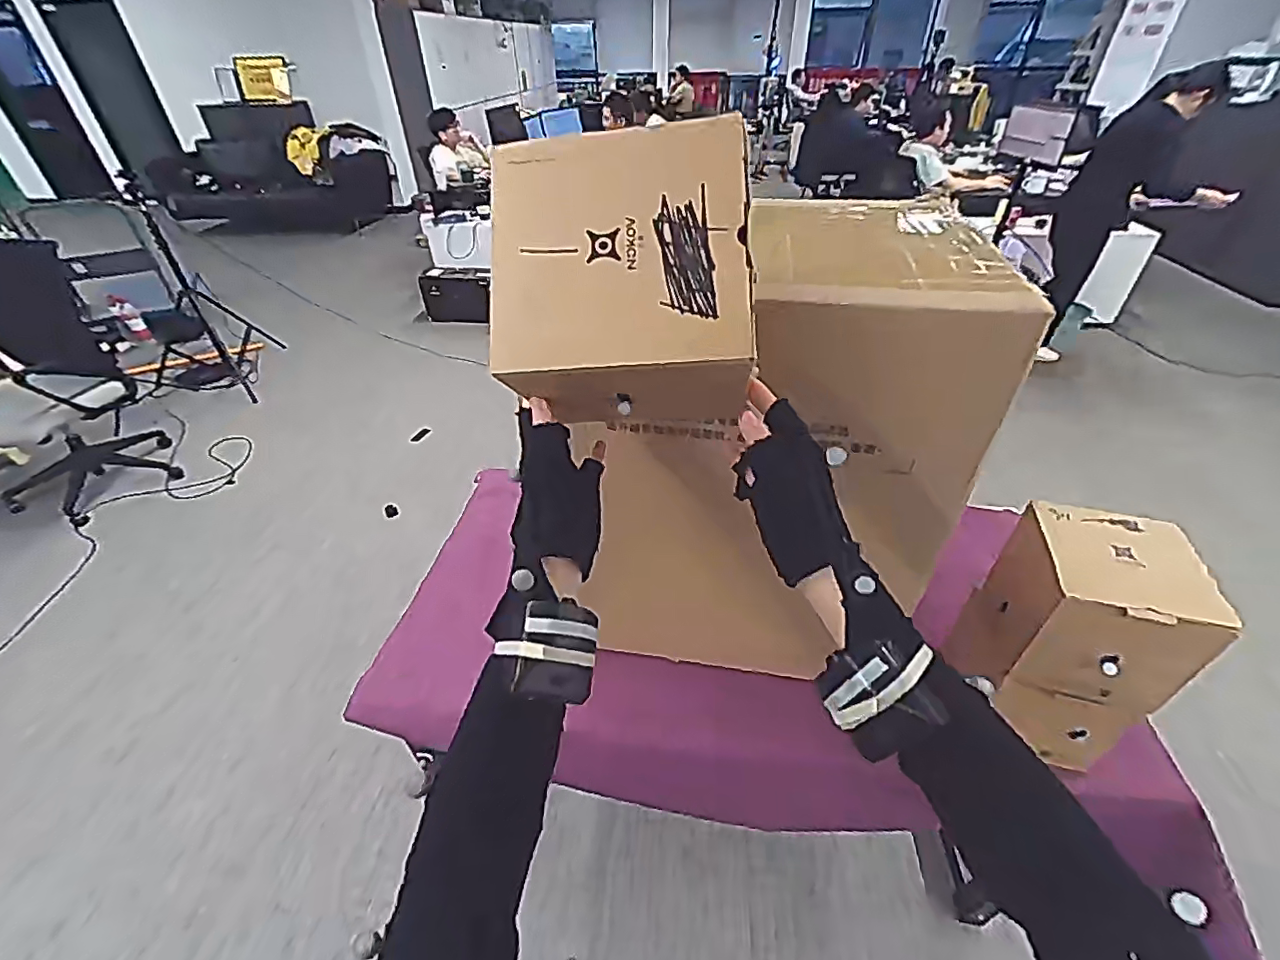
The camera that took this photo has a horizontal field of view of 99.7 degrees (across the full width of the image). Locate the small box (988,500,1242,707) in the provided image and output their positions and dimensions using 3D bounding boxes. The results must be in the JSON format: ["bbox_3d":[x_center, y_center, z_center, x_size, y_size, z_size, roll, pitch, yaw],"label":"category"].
[{"bbox_3d":[0.574,0.156,0.689,0.168,0.176,0.179,12,40,15],"label":"small box"}]

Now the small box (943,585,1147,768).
[{"bbox_3d":[0.569,0.286,0.791,0.168,0.176,0.179,9,38,12],"label":"small box"}]

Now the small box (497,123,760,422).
[{"bbox_3d":[-0.001,-0.145,0.439,0.179,0.168,0.176,-2,-6,8],"label":"small box"}]
